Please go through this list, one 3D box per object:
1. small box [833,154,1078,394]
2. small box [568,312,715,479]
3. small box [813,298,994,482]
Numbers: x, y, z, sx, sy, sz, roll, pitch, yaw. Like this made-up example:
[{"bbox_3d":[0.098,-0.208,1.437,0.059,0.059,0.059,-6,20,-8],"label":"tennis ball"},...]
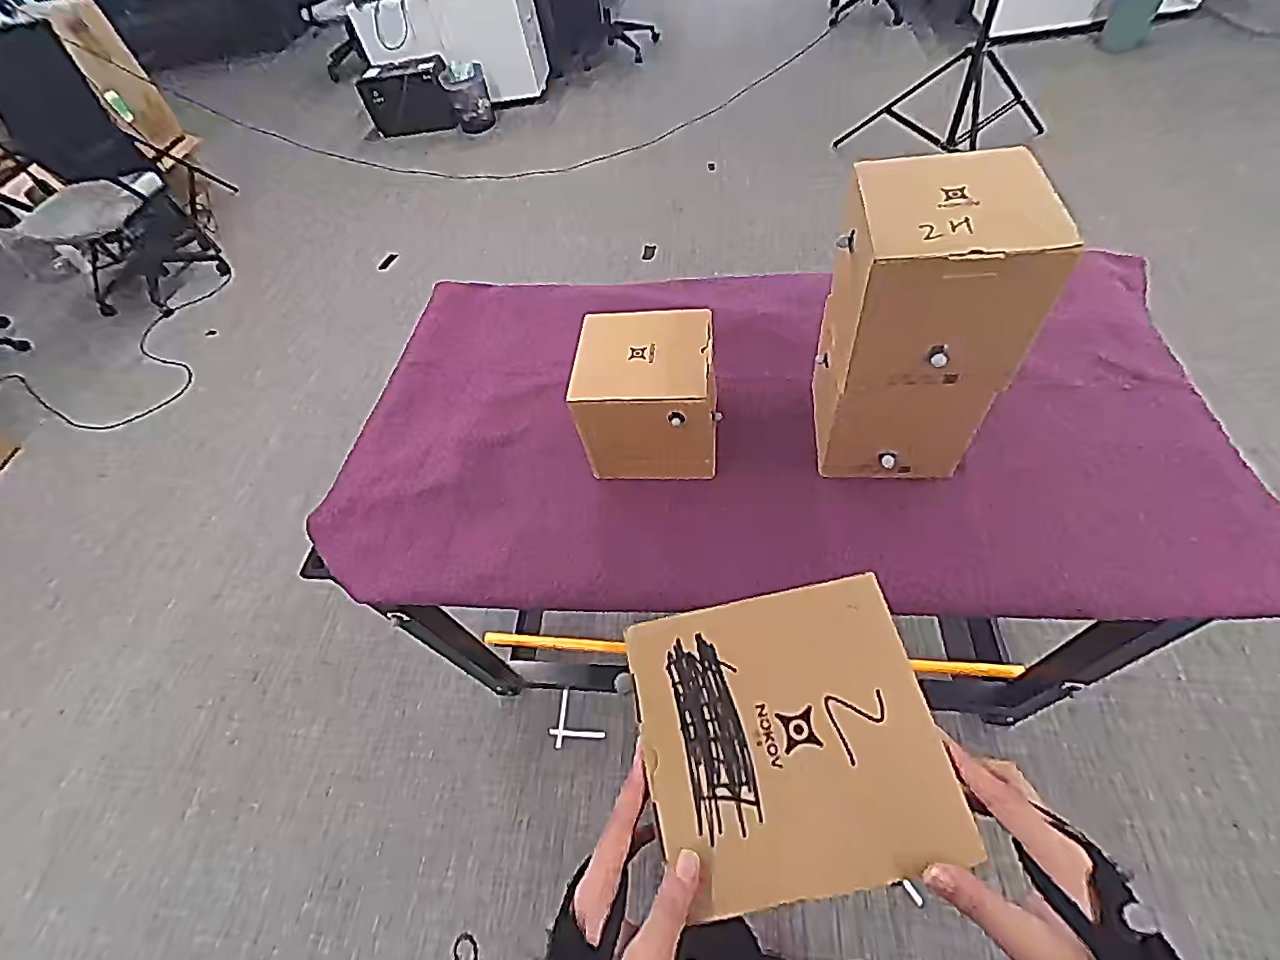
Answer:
[{"bbox_3d":[0.306,-0.212,0.575,0.168,0.176,0.179,0,55,11],"label":"small box"},{"bbox_3d":[0.014,-0.113,0.761,0.179,0.176,0.168,0,55,9],"label":"small box"},{"bbox_3d":[0.324,-0.118,0.709,0.168,0.176,0.179,1,56,11],"label":"small box"}]
